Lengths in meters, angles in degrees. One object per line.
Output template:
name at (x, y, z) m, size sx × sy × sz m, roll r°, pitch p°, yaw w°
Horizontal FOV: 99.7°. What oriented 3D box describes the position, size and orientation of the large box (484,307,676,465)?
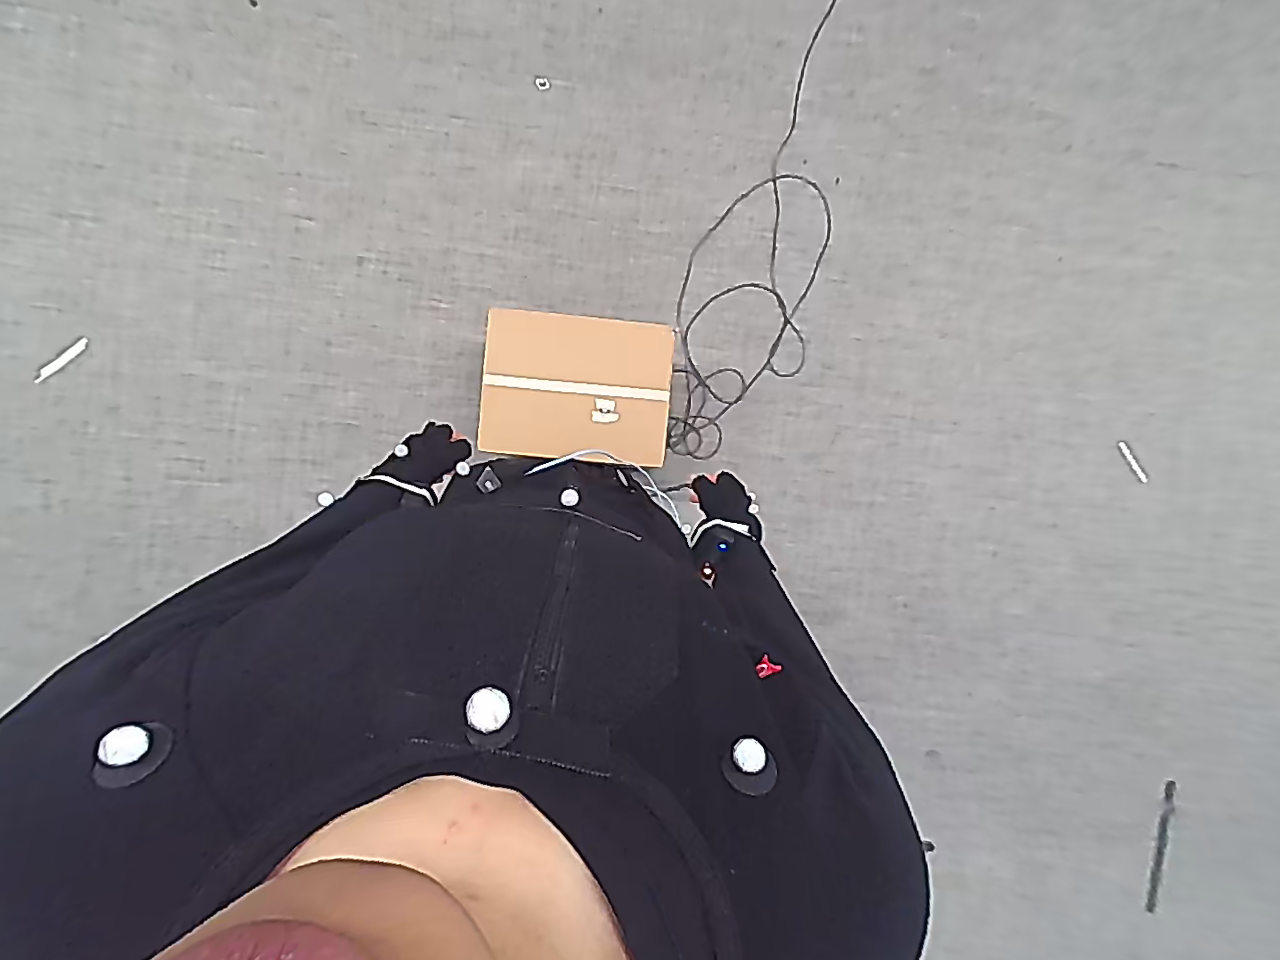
large box at (-0.139, -0.208, 1.328) m, size 0.408 × 0.320 × 0.320 m, roll 5°, pitch 91°, yaw -3°
